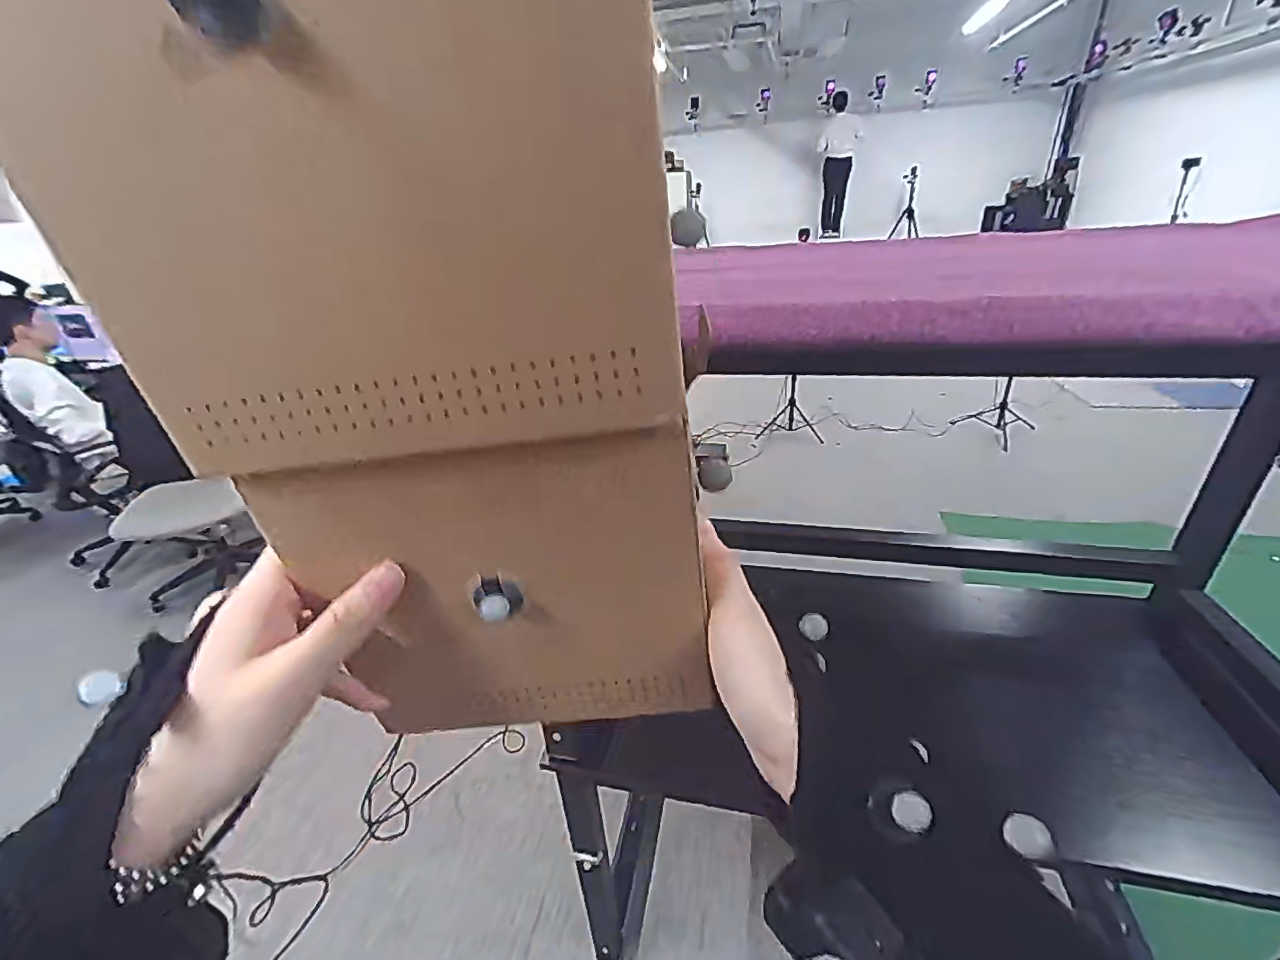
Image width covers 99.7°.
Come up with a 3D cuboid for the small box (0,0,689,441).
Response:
[{"bbox_3d":[-0.079,-0.125,0.213,0.179,0.176,0.168,-6,31,3],"label":"small box"}]
